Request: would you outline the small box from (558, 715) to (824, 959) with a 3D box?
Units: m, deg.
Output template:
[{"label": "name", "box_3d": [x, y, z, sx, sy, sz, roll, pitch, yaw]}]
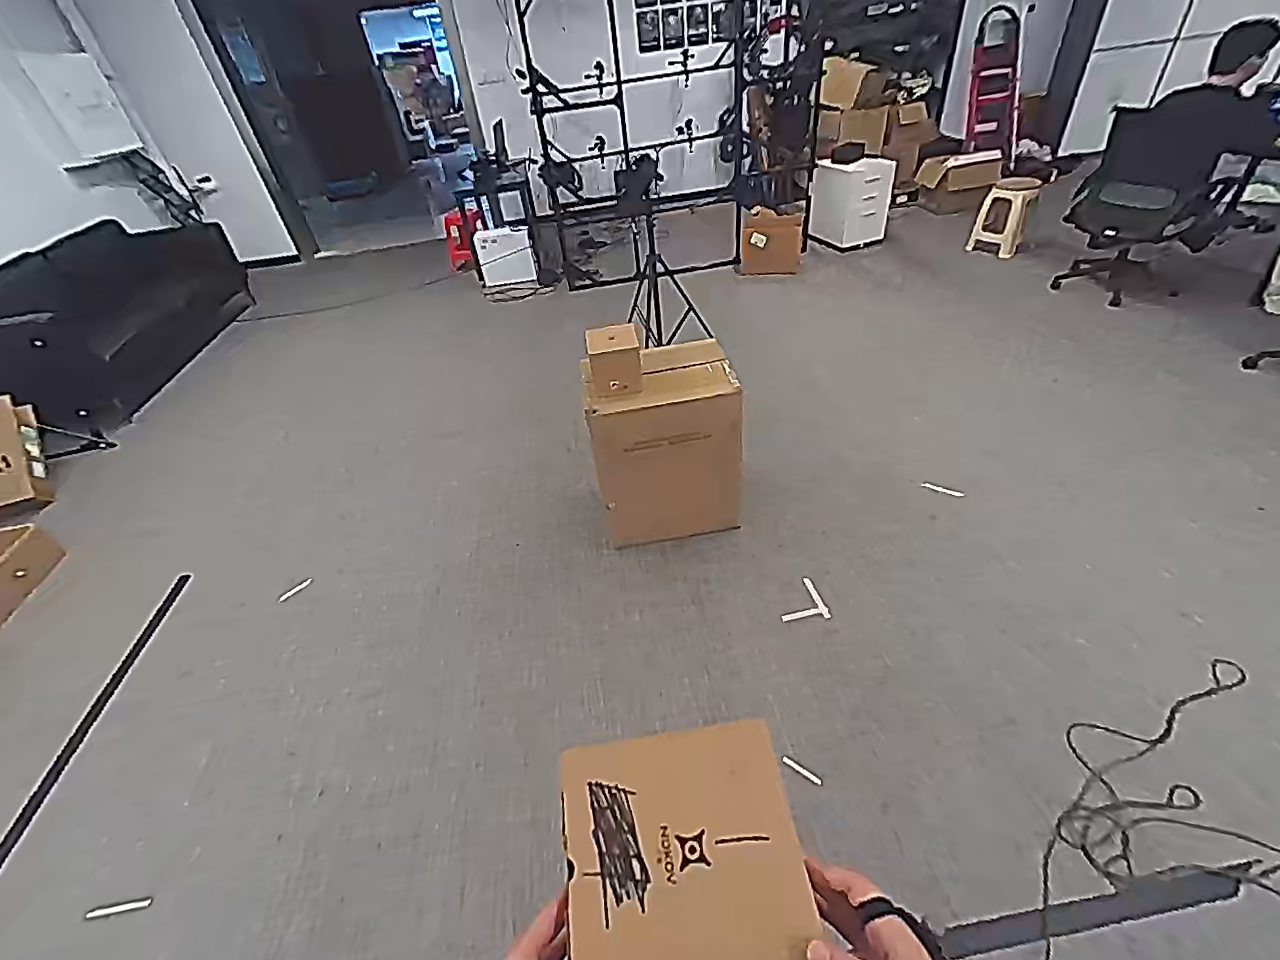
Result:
[{"label": "small box", "box_3d": [0.033, 0.324, 0.465, 0.179, 0.176, 0.168, -8, 50, -3]}]

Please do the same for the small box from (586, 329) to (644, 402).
[{"label": "small box", "box_3d": [-0.084, -0.385, 1.825, 0.168, 0.176, 0.179, -10, 42, -2]}]
